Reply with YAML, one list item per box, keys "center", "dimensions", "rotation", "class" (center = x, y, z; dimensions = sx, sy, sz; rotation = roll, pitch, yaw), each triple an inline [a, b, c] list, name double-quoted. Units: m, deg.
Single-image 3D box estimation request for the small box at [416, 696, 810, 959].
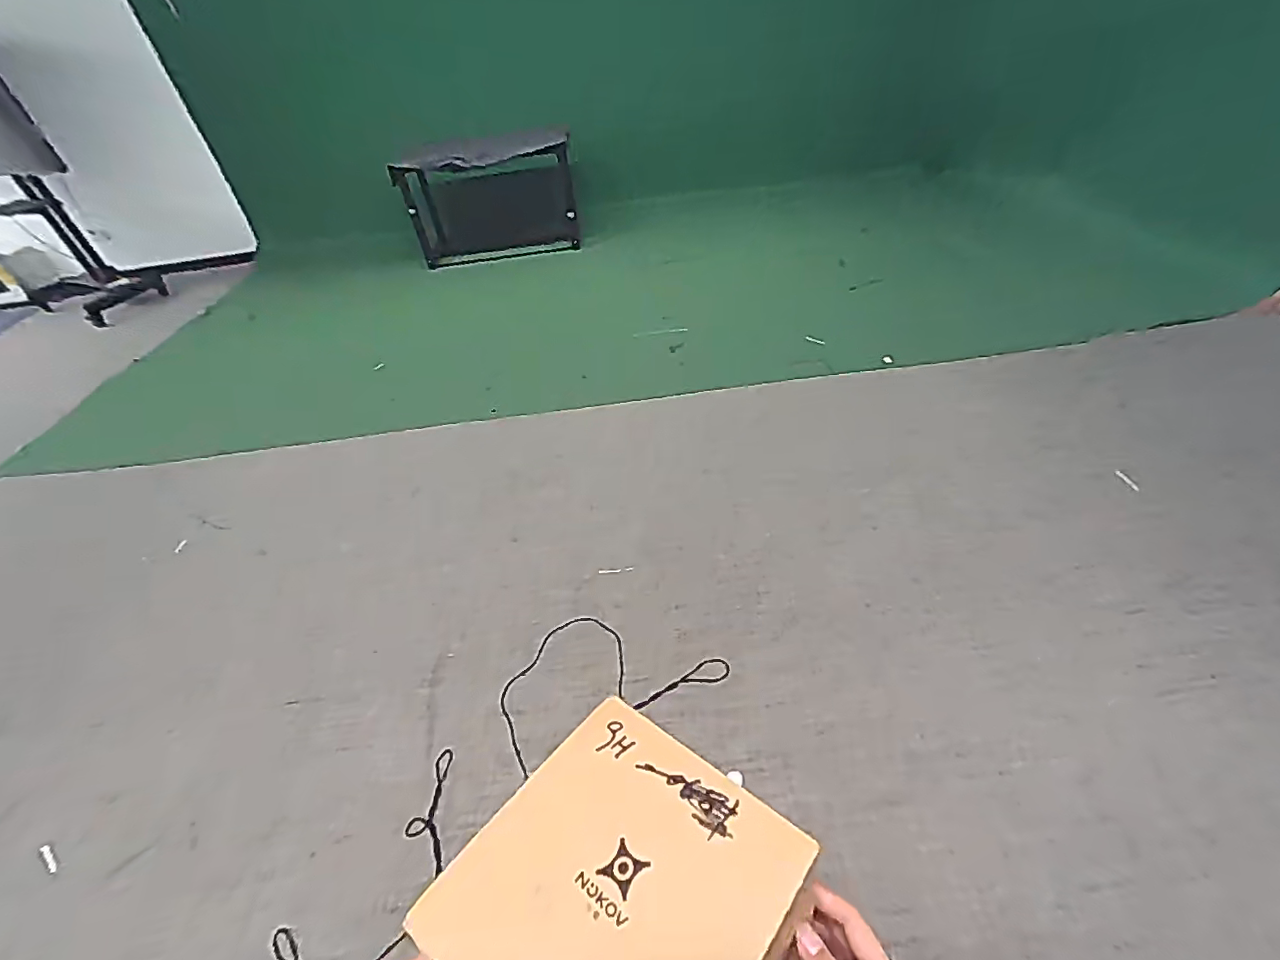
- center: [-0.003, 0.293, 0.355]
  dimensions: [0.168, 0.176, 0.179]
  rotation: [21, 44, 37]
  class: "small box"
